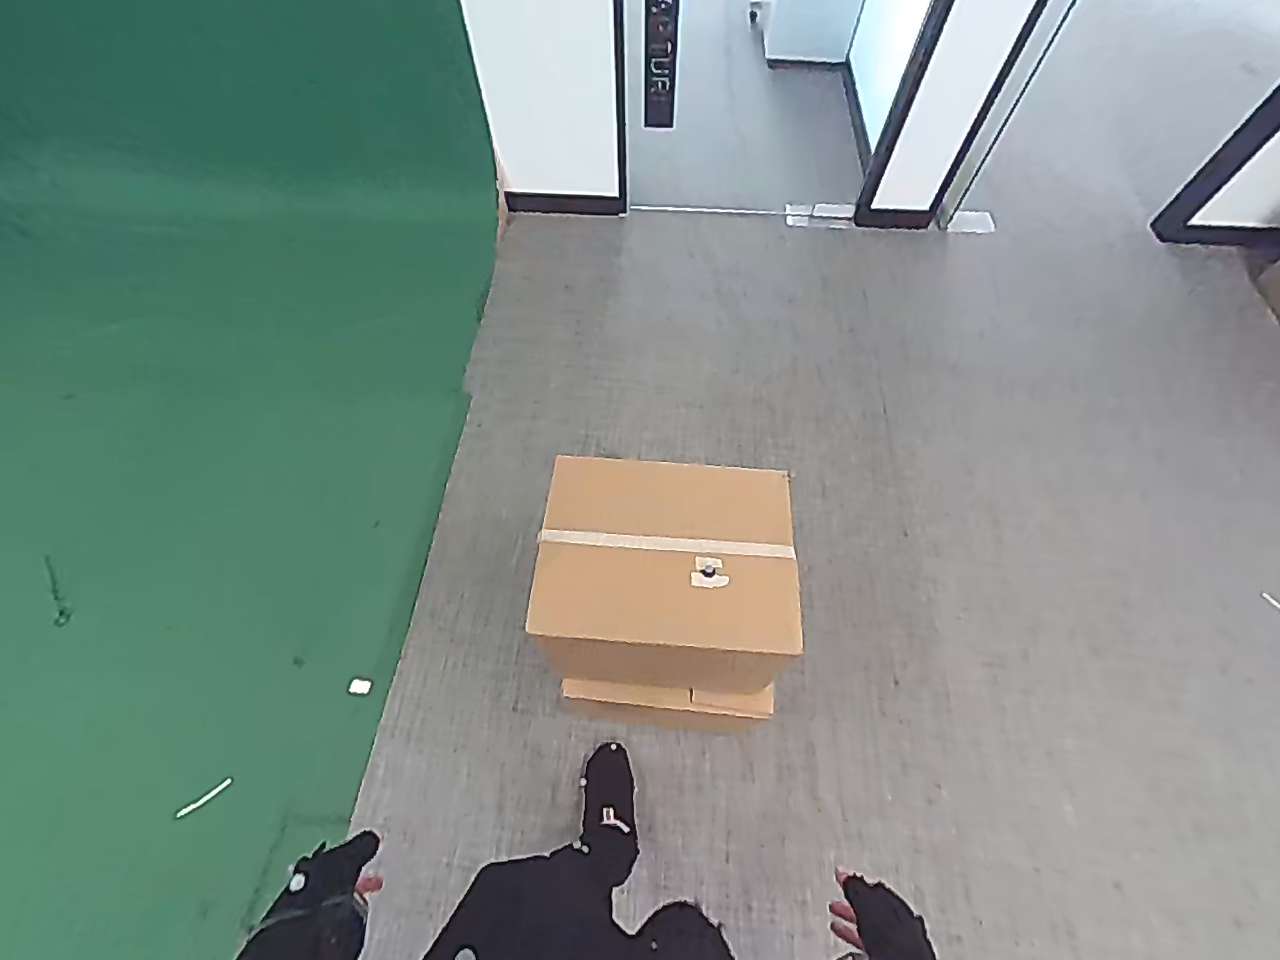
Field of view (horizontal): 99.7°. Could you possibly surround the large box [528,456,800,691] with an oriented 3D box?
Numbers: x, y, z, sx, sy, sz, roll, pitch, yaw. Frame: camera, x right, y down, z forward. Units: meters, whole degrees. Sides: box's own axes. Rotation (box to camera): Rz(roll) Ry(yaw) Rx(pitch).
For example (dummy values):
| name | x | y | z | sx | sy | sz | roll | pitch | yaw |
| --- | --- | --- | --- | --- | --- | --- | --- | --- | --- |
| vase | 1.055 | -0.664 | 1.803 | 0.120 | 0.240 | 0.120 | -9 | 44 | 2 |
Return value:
| name | x | y | z | sx | sy | sz | roll | pitch | yaw |
| --- | --- | --- | --- | --- | --- | --- | --- | --- | --- |
| large box | 0.038 | 0.180 | 0.981 | 0.408 | 0.320 | 0.320 | 5 | 58 | 1 |
